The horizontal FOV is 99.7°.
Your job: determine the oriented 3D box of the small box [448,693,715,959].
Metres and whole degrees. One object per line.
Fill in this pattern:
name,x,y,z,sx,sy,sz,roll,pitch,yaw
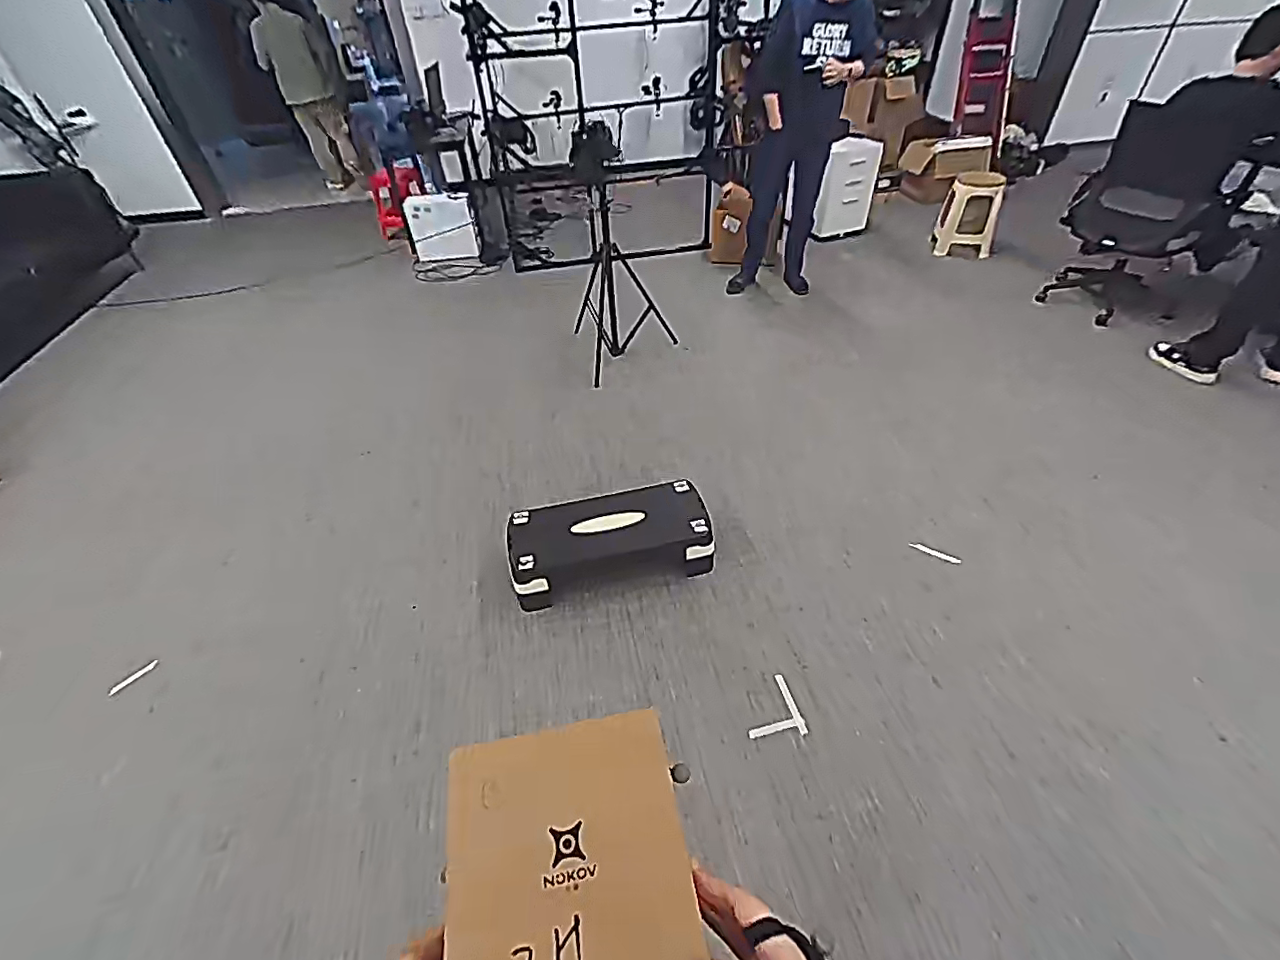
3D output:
small box,-0.048,0.299,0.437,0.168,0.176,0.179,-10,53,-6
